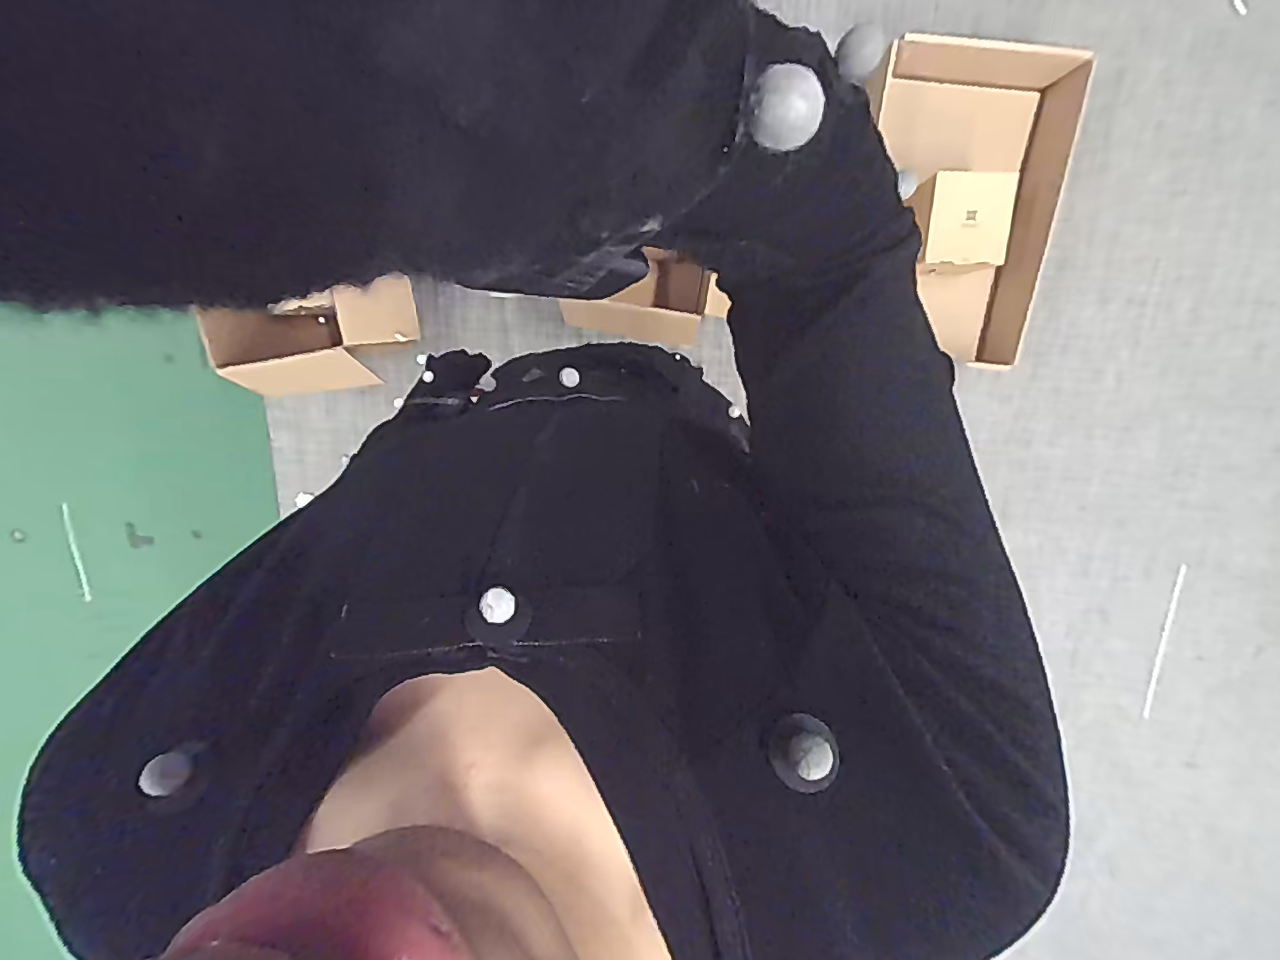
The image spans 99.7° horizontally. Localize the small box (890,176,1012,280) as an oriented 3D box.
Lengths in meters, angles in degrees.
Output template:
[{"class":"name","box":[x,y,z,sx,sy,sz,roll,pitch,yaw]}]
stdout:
[{"class":"small box","box":[0.672,-0.546,1.189,0.168,0.176,0.179,2,103,2]}]
